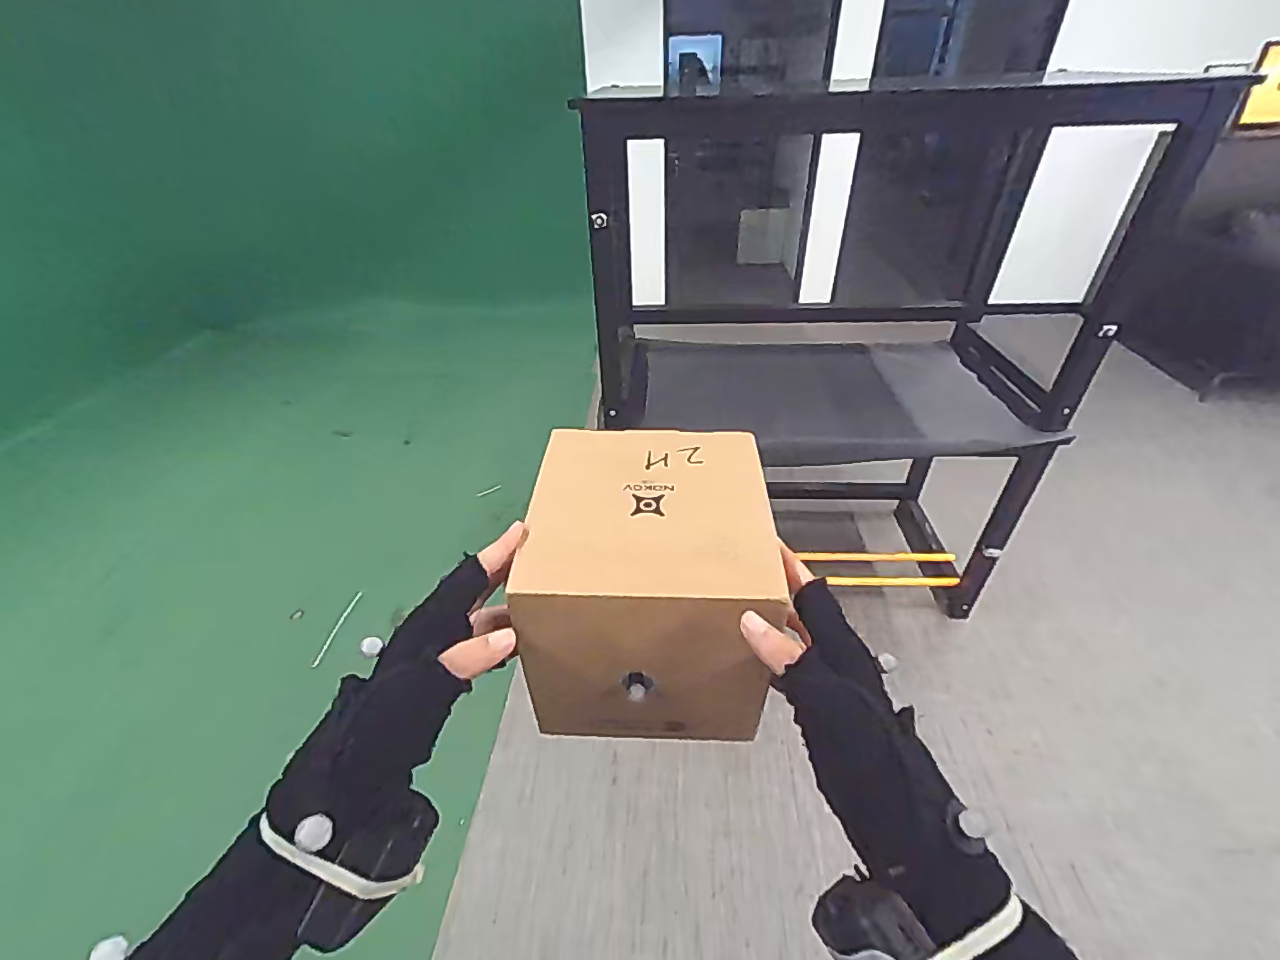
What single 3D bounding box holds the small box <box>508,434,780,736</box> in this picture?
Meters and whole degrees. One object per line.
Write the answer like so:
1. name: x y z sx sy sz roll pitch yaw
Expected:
1. small box: 0.008 0.080 0.430 0.168 0.176 0.179 1 37 3
